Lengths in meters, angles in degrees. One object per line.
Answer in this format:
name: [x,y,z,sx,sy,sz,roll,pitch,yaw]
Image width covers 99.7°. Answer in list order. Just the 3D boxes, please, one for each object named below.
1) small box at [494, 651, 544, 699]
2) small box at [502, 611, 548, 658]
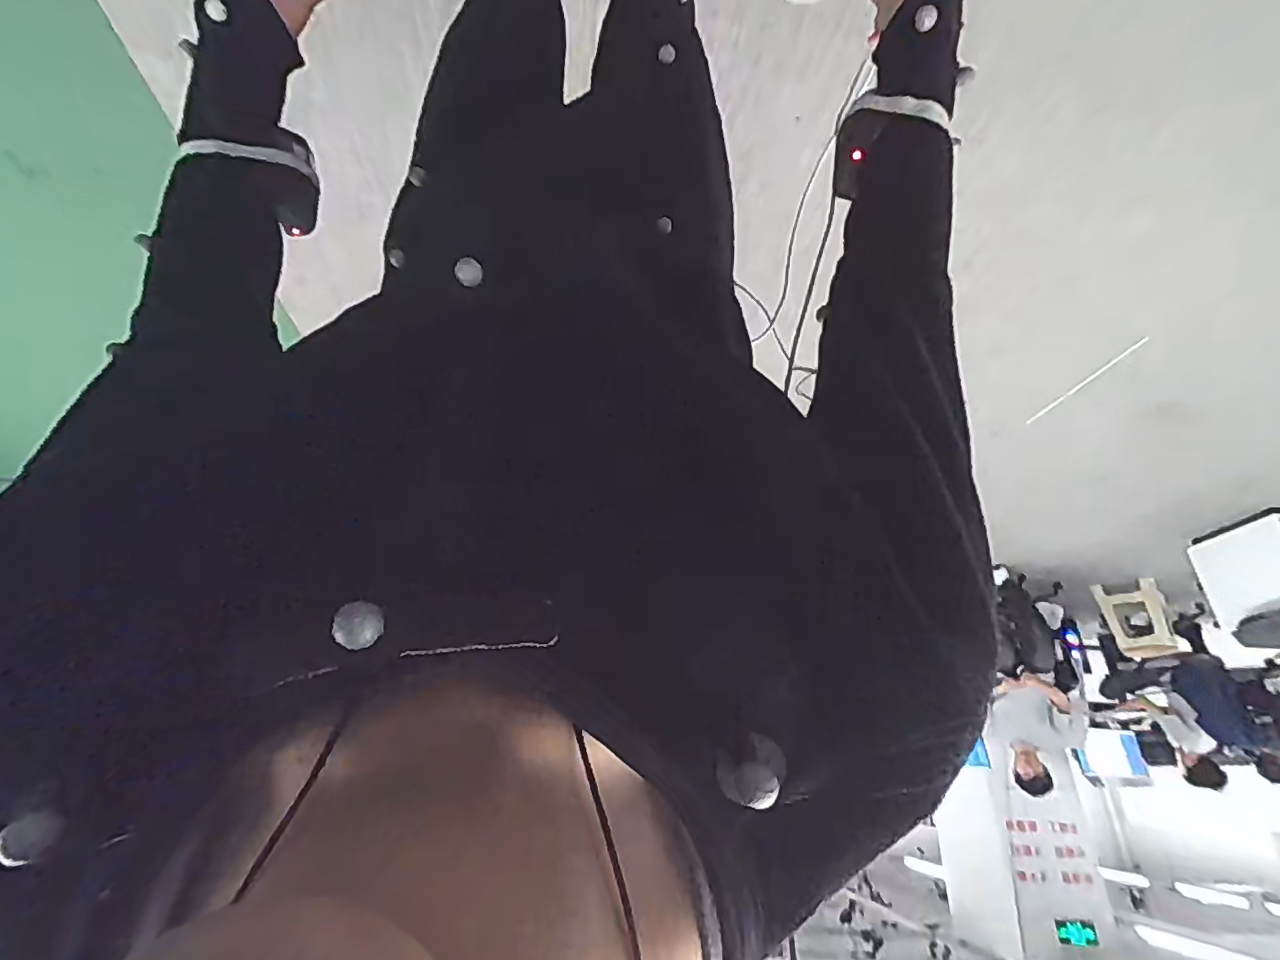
small box: [-0.499,0.812,2.253,0.179,0.176,0.168,6,153,-6]
small box: [-0.491,0.667,2.332,0.179,0.176,0.168,5,152,-5]
